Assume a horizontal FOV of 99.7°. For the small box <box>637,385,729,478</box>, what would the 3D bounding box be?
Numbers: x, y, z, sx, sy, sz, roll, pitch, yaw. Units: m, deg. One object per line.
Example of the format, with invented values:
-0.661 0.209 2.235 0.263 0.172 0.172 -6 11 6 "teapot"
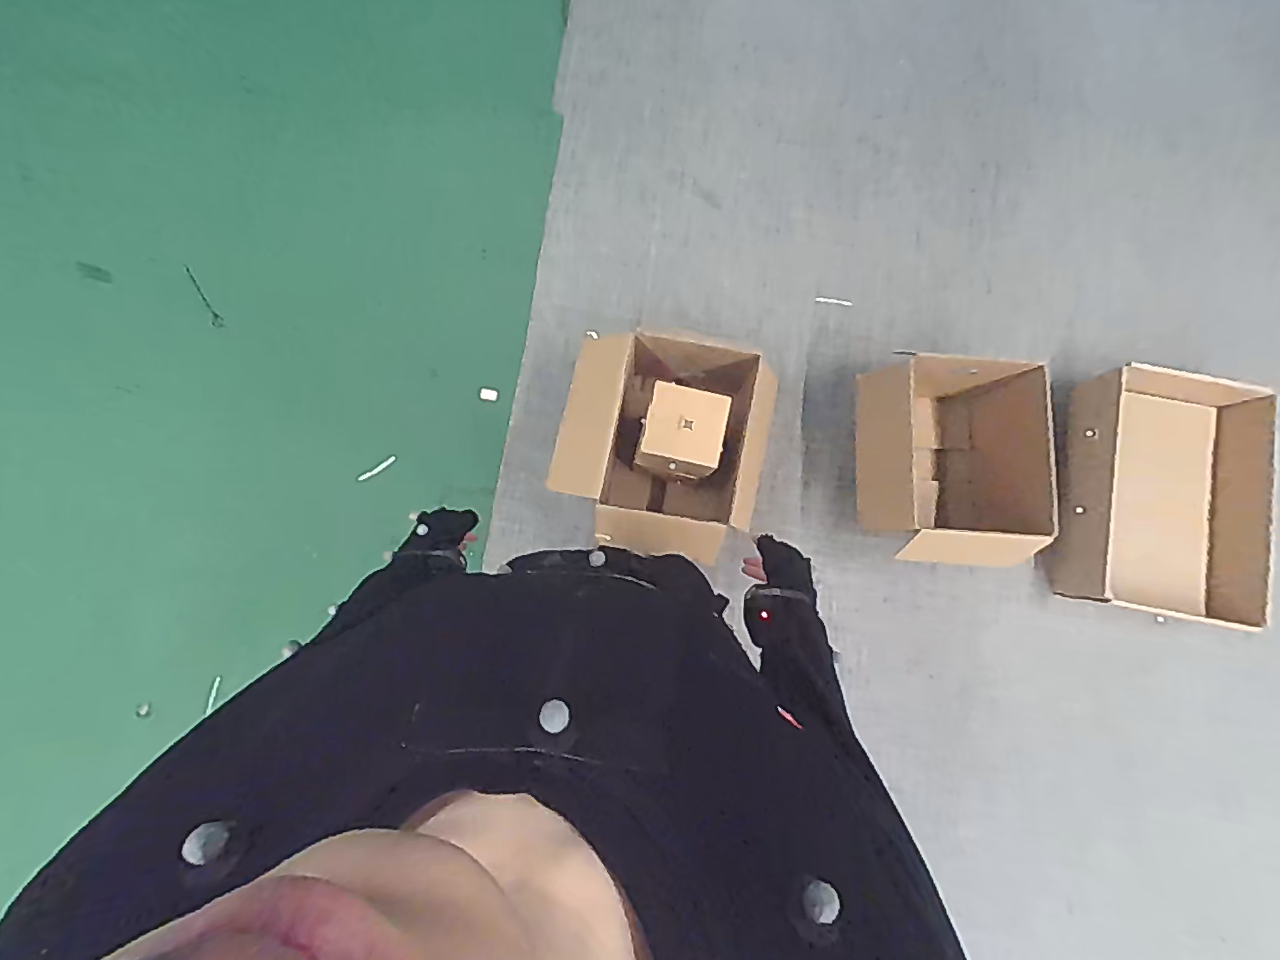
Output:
0.095 -0.105 1.269 0.179 0.176 0.168 12 81 0 "small box"
